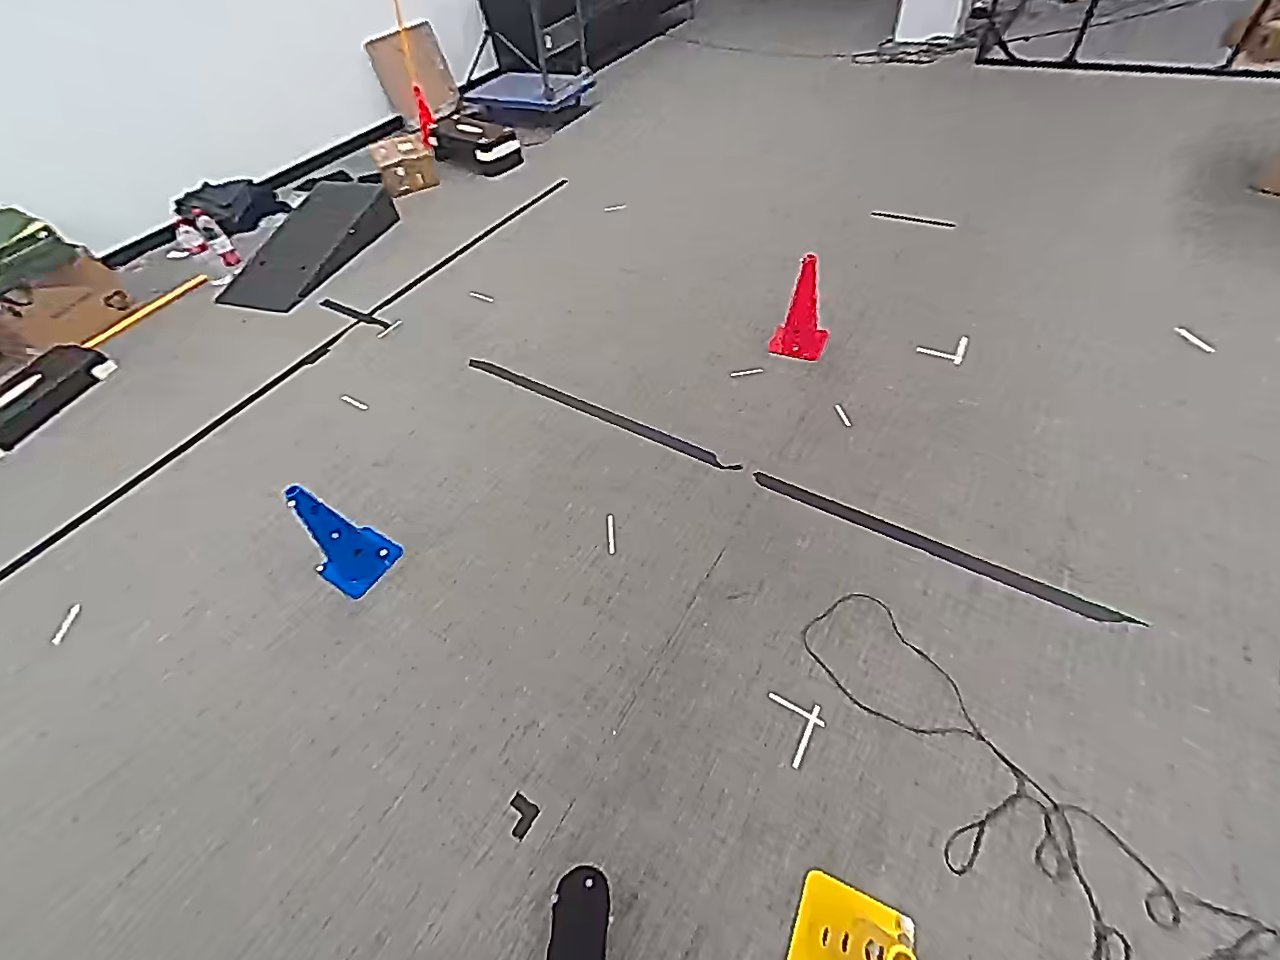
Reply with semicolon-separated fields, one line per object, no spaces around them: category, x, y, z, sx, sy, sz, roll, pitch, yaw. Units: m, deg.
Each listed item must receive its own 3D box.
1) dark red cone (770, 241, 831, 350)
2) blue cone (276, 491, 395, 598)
dark red cone;0.608;-0.676;1.967;0.202;0.394;0.201;17;56;20
blue cone;-0.880;0.150;1.518;0.193;0.380;0.192;24;59;25
